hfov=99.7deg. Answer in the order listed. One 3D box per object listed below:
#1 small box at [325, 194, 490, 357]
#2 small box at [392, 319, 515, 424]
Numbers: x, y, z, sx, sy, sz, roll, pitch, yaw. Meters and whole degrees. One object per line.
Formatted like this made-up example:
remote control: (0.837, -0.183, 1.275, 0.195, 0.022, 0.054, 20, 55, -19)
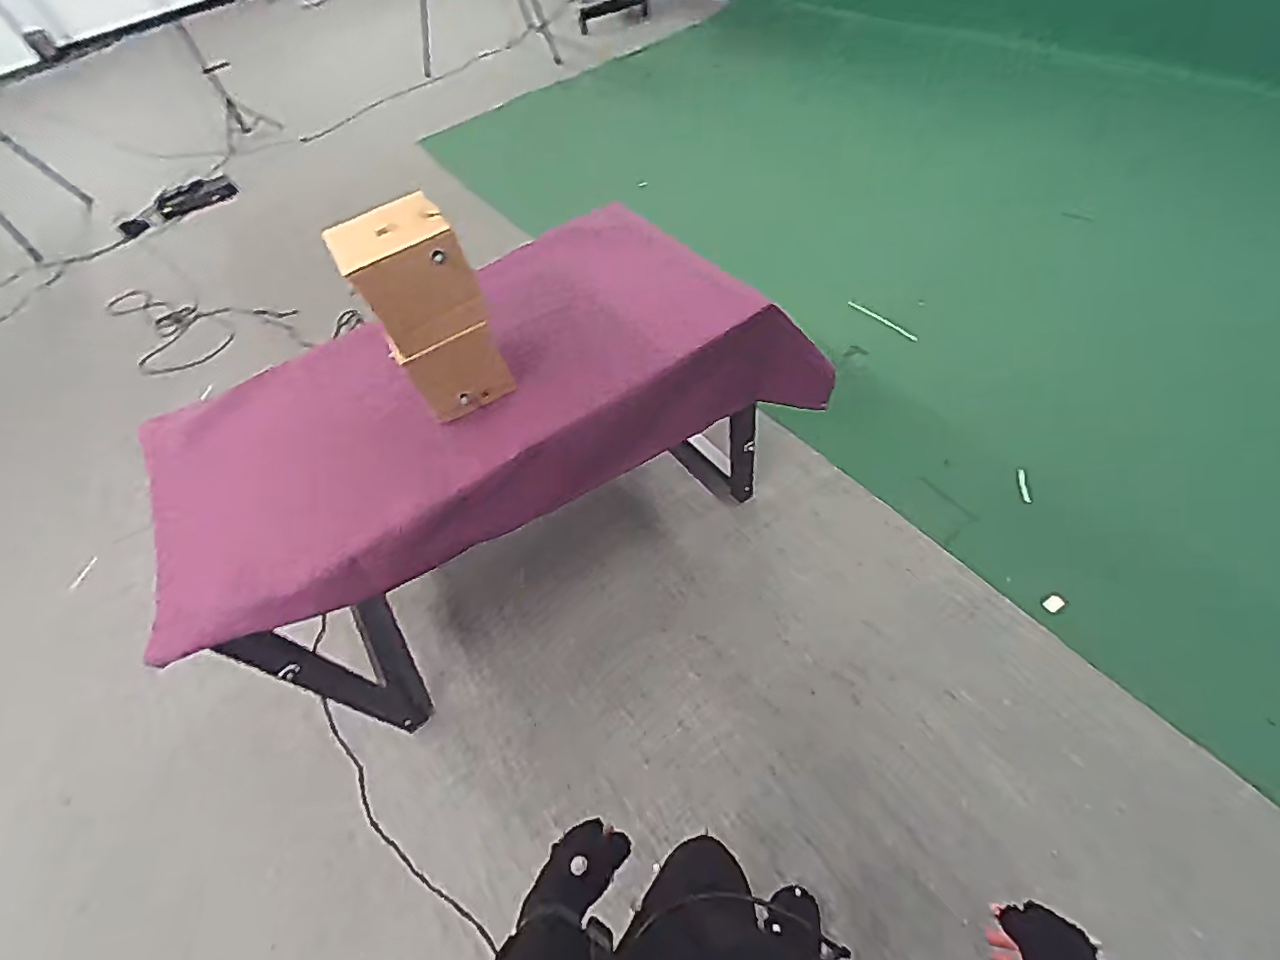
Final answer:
small box: (-0.383, -0.338, 0.907, 0.179, 0.176, 0.168, -31, 55, -12)
small box: (-0.364, -0.240, 1.034, 0.168, 0.176, 0.179, -30, 56, -11)
